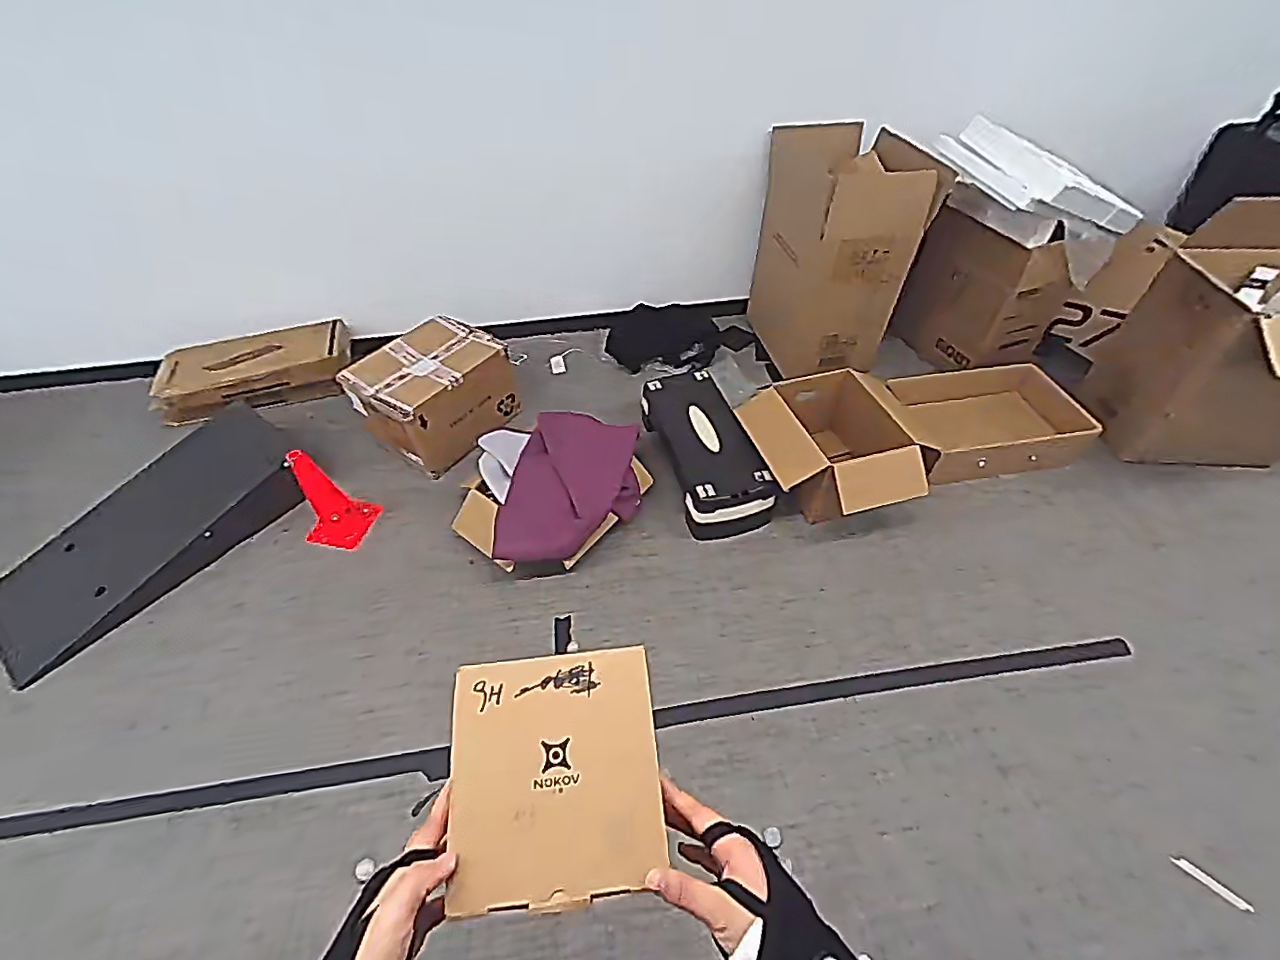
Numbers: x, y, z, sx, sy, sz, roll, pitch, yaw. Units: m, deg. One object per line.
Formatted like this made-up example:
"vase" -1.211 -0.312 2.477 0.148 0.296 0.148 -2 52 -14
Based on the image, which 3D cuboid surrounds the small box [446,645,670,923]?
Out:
"small box" -0.066 0.263 0.492 0.168 0.176 0.179 -7 62 -3
